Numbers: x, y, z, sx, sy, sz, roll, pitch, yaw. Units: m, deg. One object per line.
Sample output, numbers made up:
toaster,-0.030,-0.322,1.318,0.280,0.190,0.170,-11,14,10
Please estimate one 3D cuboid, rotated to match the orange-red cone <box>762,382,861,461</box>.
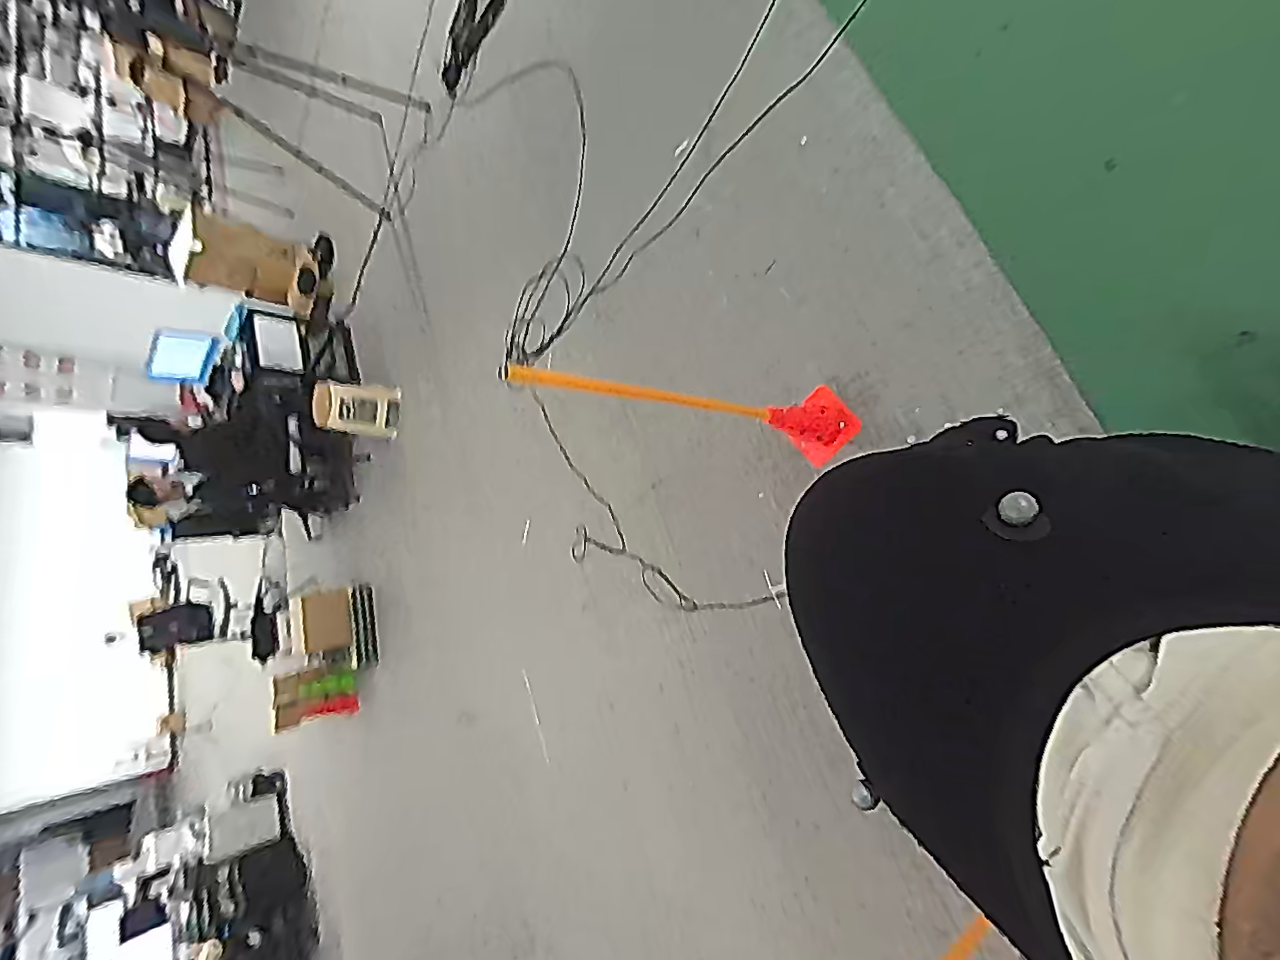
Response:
orange-red cone,0.466,-0.193,1.607,0.198,0.360,0.199,-48,58,30
